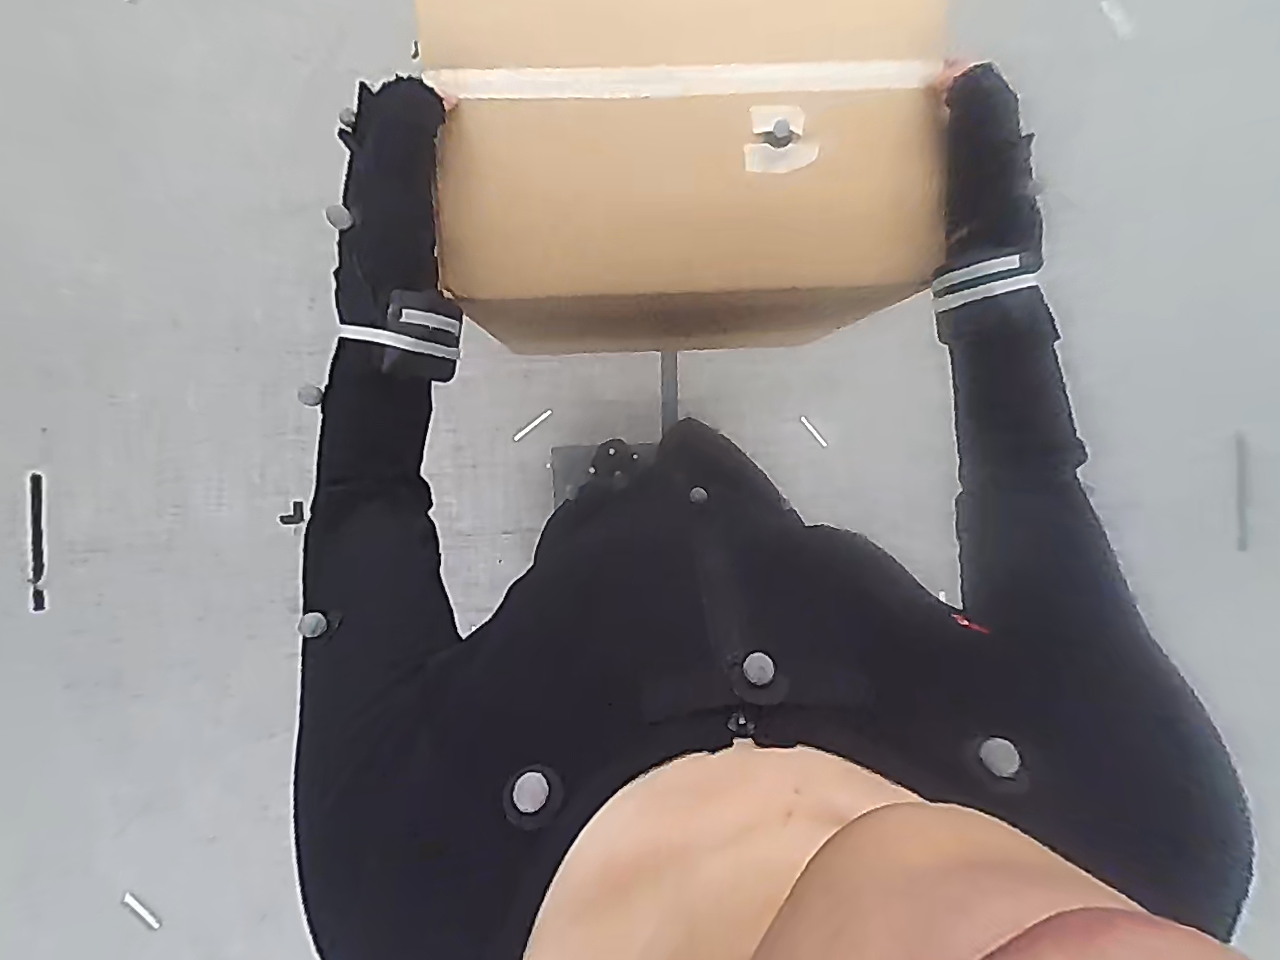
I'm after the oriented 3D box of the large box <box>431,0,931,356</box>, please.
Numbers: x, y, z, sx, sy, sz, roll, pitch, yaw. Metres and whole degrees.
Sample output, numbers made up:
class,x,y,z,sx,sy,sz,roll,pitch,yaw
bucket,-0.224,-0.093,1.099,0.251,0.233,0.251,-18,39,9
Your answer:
class,x,y,z,sx,sy,sz,roll,pitch,yaw
large box,0.030,-0.323,0.583,0.408,0.320,0.320,-3,95,-3

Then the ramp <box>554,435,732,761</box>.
class,x,y,z,sx,sy,sz,roll,pitch,yaw
ramp,0.025,0.370,1.578,0.509,0.206,0.991,-4,92,-3
